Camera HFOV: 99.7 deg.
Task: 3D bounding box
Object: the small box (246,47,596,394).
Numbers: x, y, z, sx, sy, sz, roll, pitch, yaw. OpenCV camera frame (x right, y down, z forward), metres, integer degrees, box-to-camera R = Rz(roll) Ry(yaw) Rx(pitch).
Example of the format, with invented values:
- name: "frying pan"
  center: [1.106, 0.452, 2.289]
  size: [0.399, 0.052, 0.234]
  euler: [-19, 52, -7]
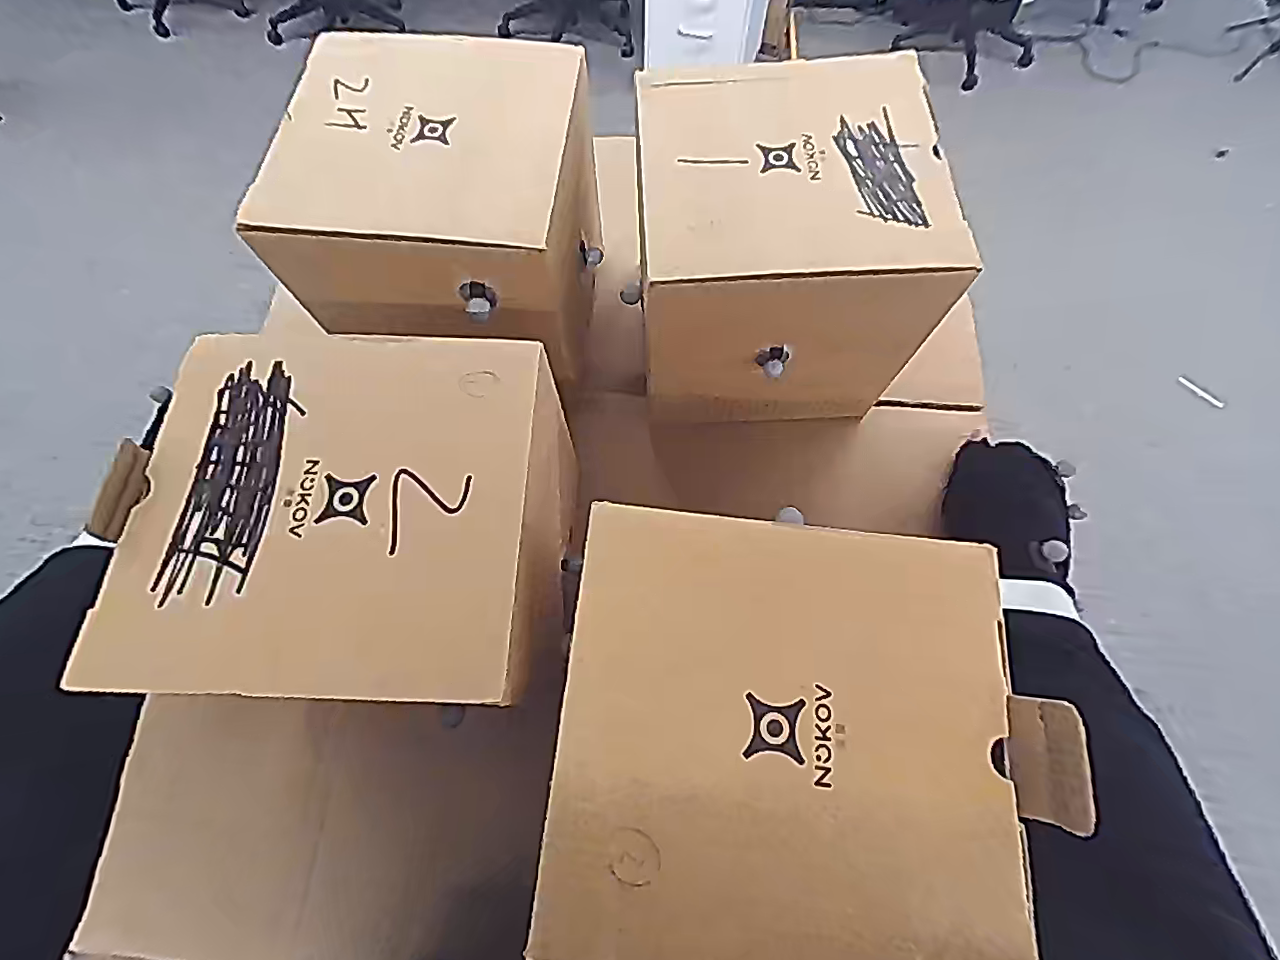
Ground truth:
- name: "small box"
  center: [-0.132, -0.179, 0.408]
  size: [0.179, 0.176, 0.168]
  euler: [5, 69, 3]
